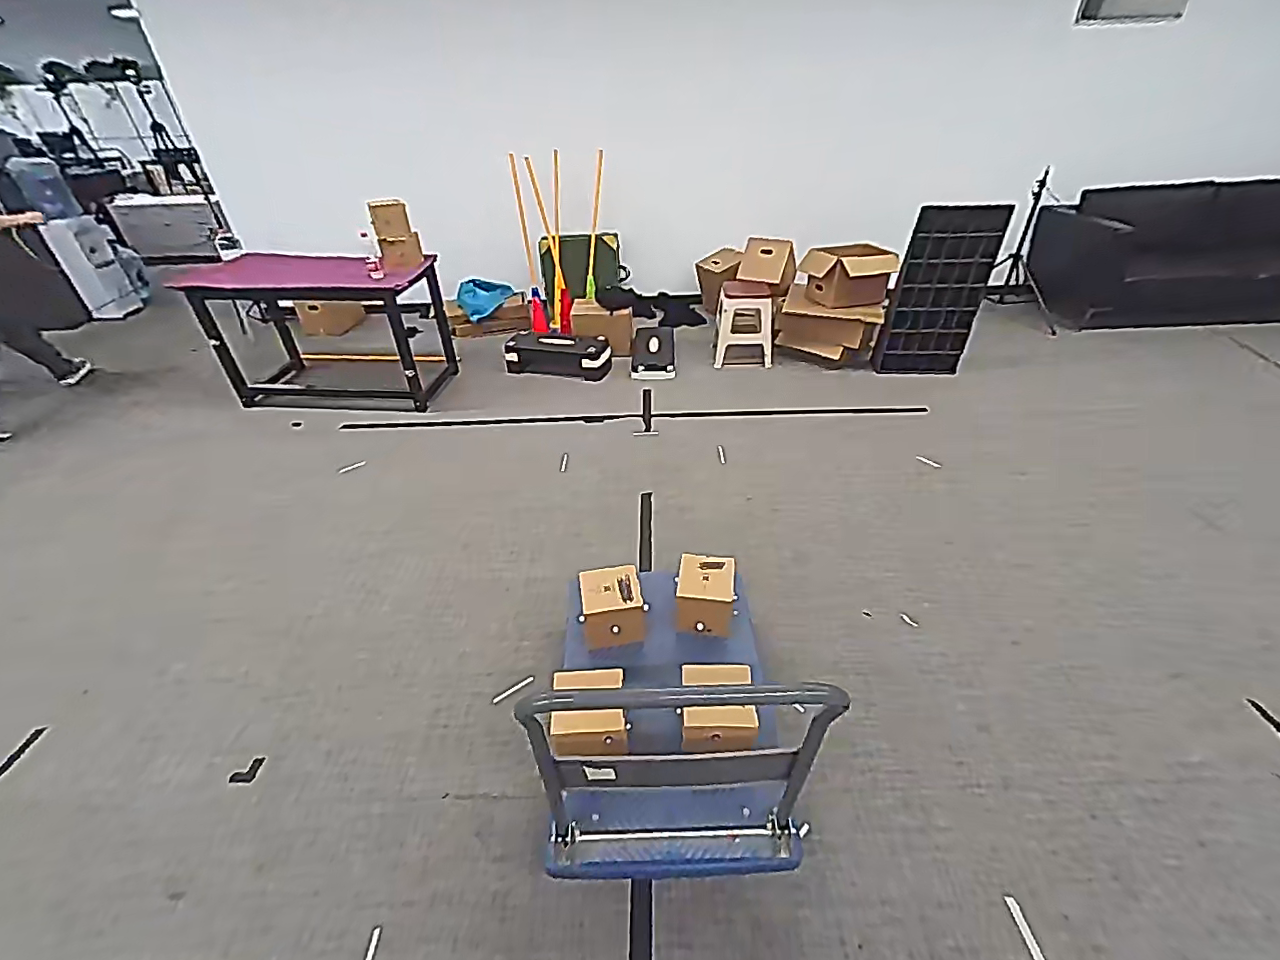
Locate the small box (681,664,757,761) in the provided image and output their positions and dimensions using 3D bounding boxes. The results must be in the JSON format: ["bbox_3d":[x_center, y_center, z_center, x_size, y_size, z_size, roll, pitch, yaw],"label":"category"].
[{"bbox_3d":[0.191,0.584,1.357,0.179,0.176,0.168,0,37,3],"label":"small box"}]

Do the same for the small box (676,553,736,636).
[{"bbox_3d":[0.201,0.352,1.665,0.168,0.176,0.179,5,38,9],"label":"small box"}]

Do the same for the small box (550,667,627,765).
[{"bbox_3d":[-0.125,0.594,1.356,0.179,0.176,0.168,-2,37,-3],"label":"small box"}]
